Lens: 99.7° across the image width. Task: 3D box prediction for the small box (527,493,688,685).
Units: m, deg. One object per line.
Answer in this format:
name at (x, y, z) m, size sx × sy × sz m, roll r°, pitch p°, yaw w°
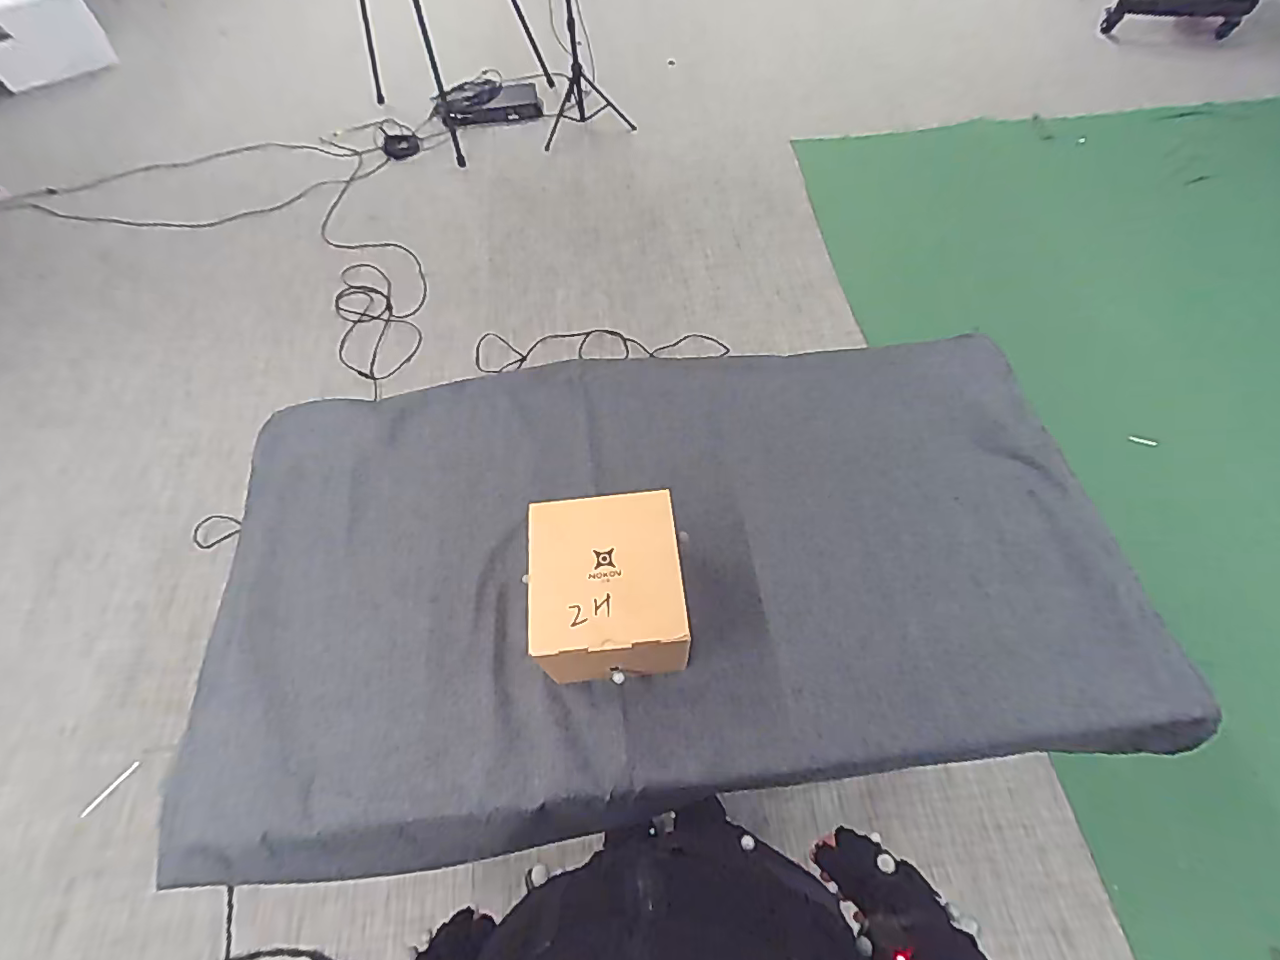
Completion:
small box at (-0.037, 0.136, 0.653) m, size 0.168 × 0.176 × 0.179 m, roll -6°, pitch 61°, yaw 0°
